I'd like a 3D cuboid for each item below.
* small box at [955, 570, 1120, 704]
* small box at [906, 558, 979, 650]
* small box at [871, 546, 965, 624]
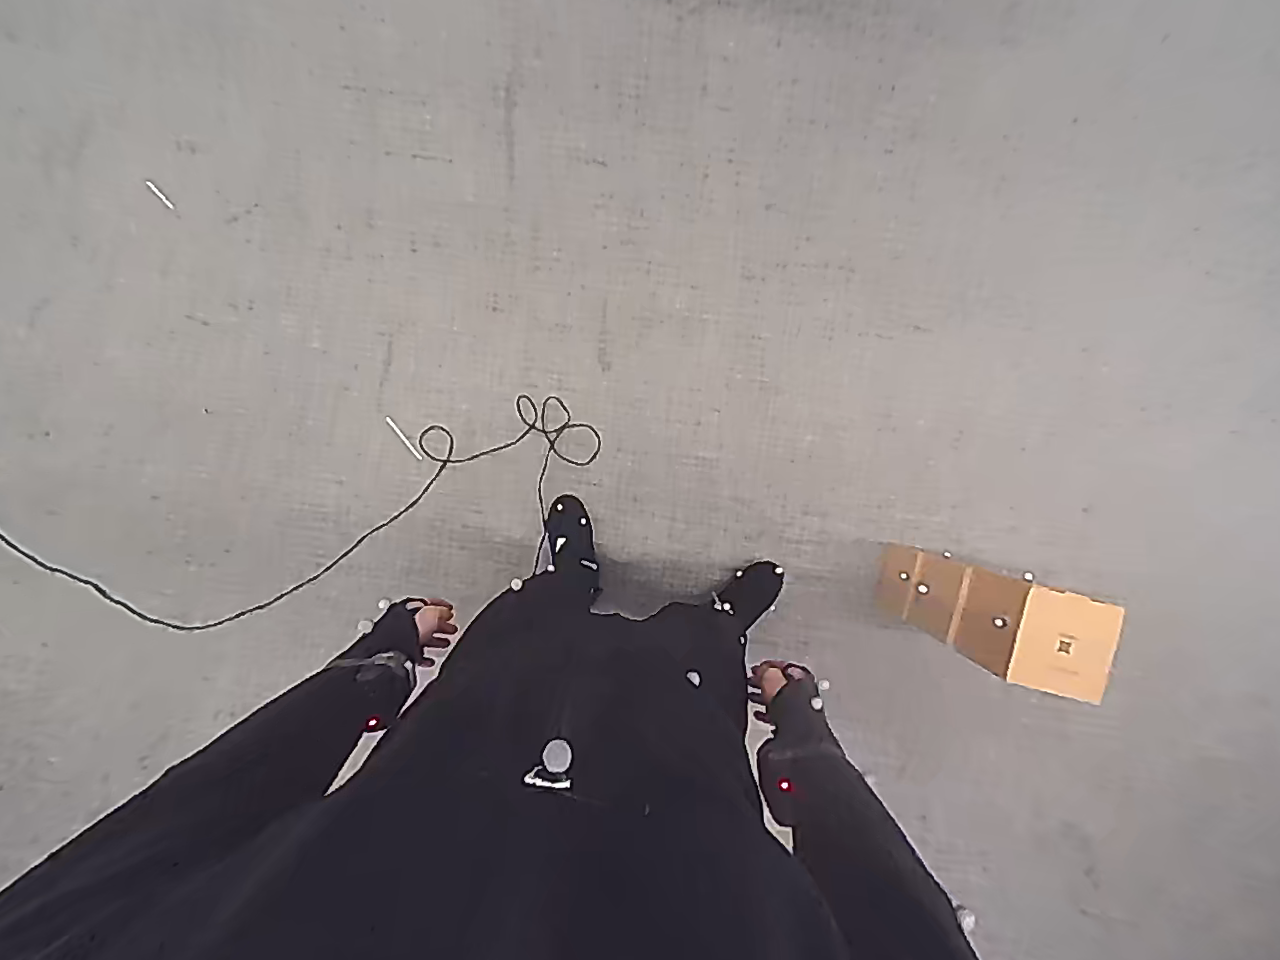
[{"bbox_3d":[0.722,0.279,1.004,0.168,0.176,0.179,14,92,1],"label":"small box"},{"bbox_3d":[0.714,0.276,1.165,0.179,0.176,0.168,15,91,0],"label":"small box"},{"bbox_3d":[0.705,0.269,1.330,0.179,0.176,0.168,14,91,-1],"label":"small box"}]
